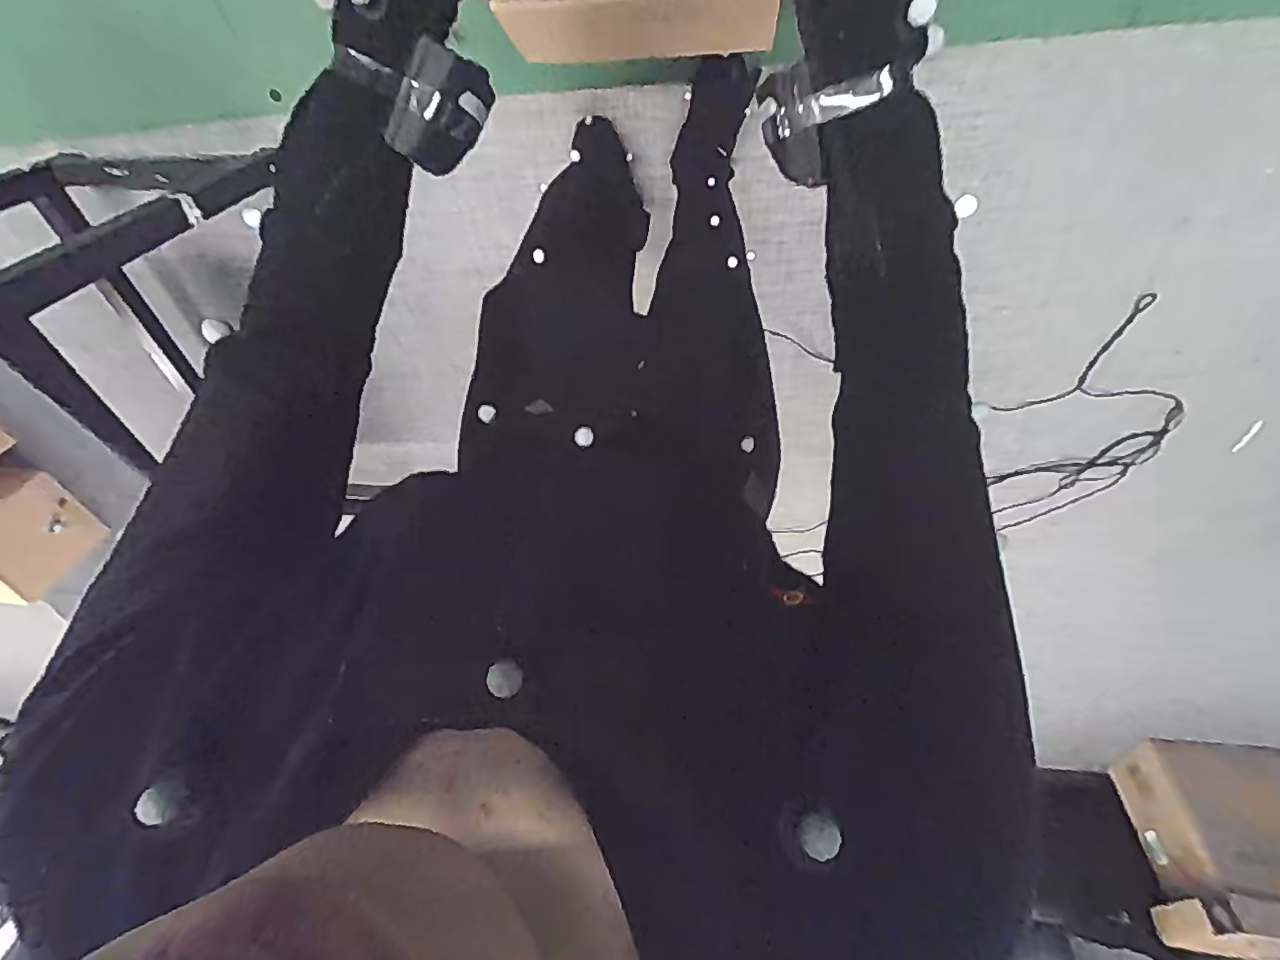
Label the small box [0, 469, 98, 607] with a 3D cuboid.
[{"bbox_3d":[-1.107,0.090,0.914,0.179,0.176,0.168,5,136,4],"label":"small box"}]
